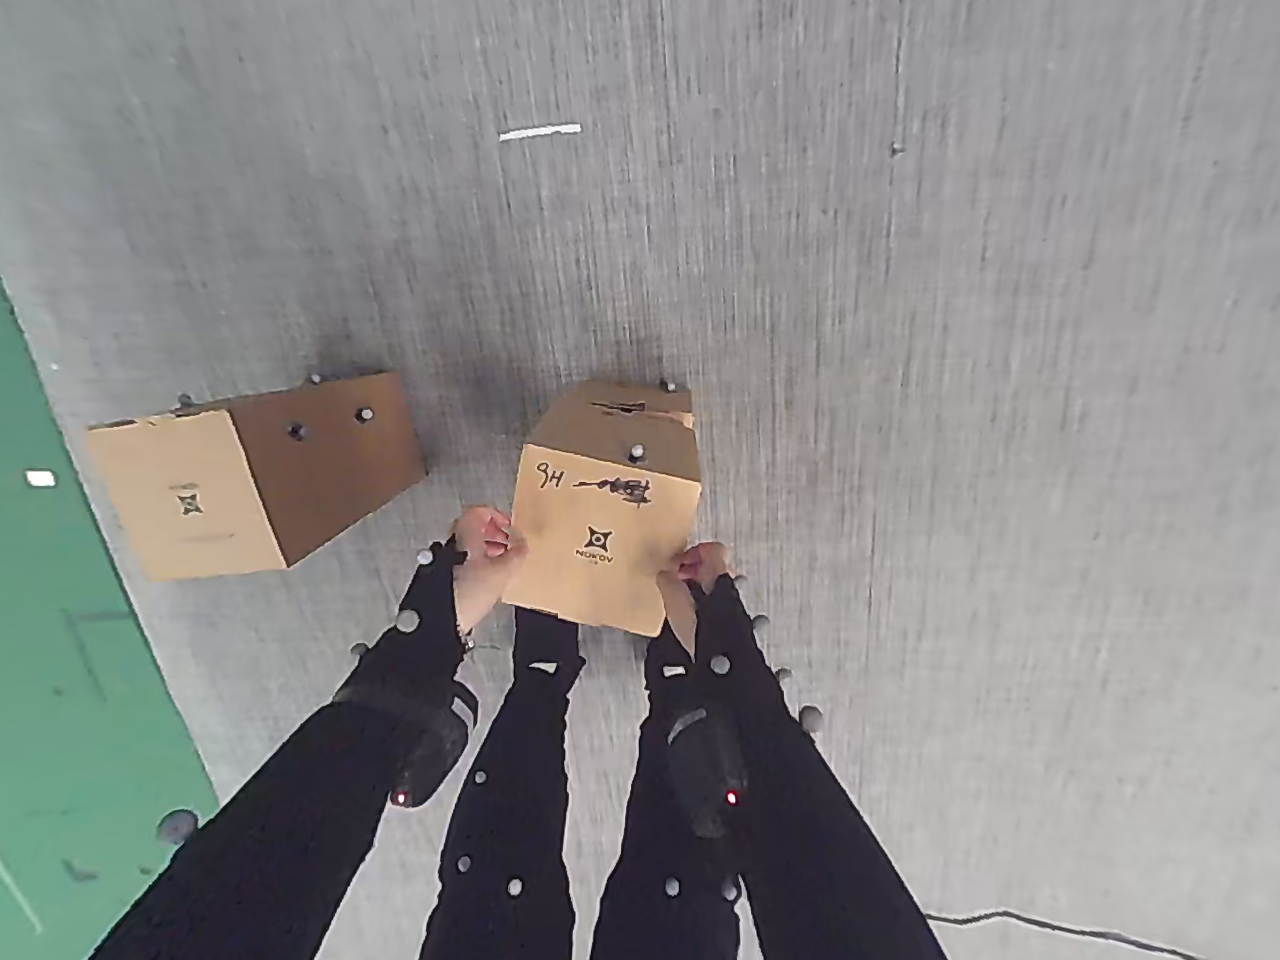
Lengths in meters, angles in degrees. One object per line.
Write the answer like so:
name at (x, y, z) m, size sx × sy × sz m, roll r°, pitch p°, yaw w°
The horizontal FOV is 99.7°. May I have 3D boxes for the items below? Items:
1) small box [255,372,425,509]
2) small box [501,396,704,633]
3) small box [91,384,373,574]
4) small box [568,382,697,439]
small box at (-0.442, -0.057, 0.785) m, size 0.168 × 0.176 × 0.179 m, roll -7°, pitch 107°, yaw 7°
small box at (-0.035, 0.027, 0.579) m, size 0.168 × 0.176 × 0.179 m, roll 14°, pitch 112°, yaw -2°
small box at (-0.449, -0.012, 0.630) m, size 0.168 × 0.176 × 0.179 m, roll -7°, pitch 108°, yaw 7°
small box at (-0.015, -0.037, 0.757) m, size 0.168 × 0.176 × 0.179 m, roll 6°, pitch 109°, yaw 3°
